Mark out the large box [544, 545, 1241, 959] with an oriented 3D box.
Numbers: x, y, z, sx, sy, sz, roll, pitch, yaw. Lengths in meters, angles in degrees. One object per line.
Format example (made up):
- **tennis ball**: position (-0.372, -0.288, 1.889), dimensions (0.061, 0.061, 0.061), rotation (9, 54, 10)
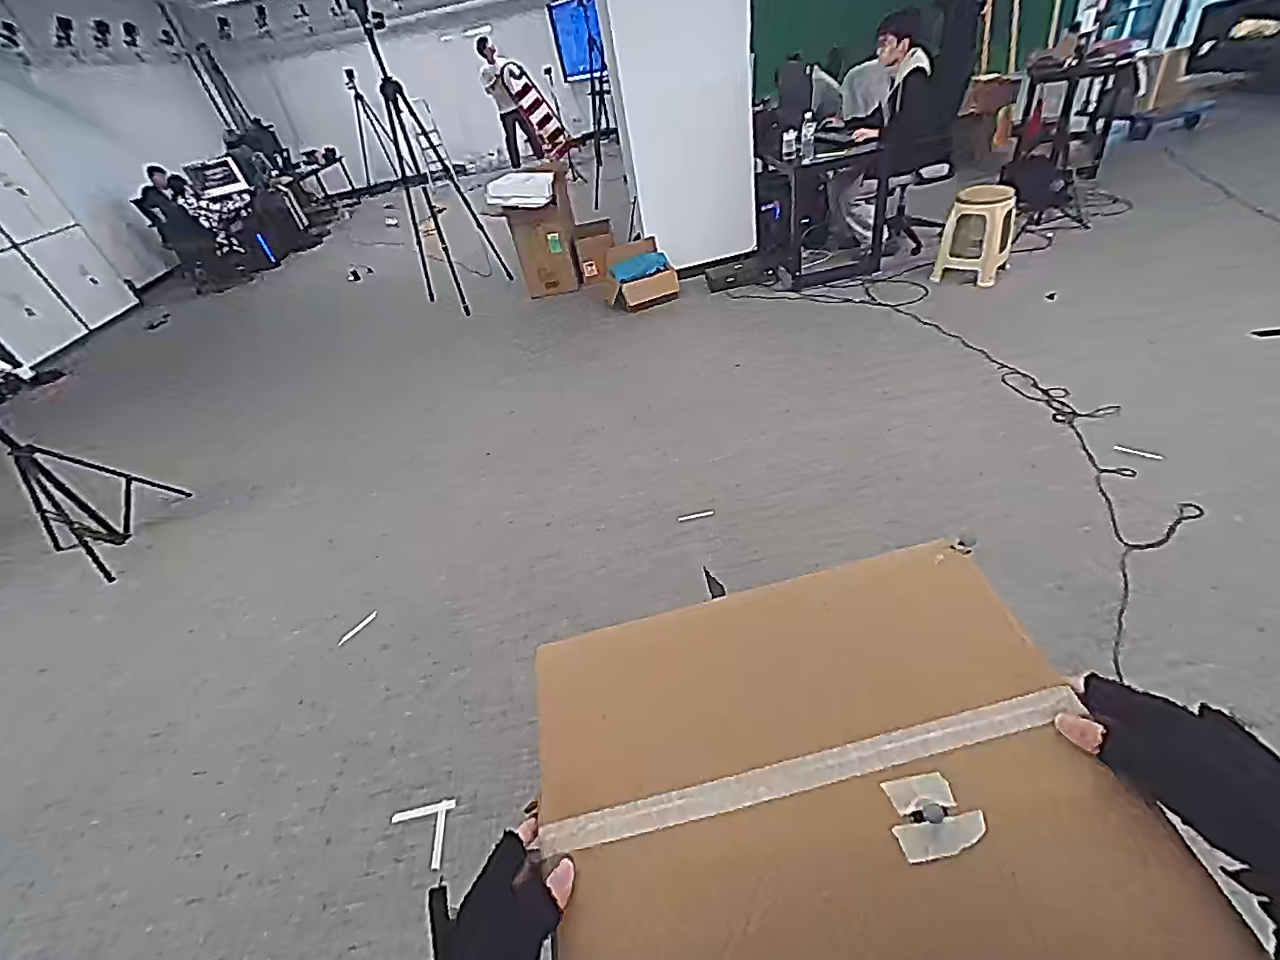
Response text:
- **large box**: position (0.155, 0.321, 0.519), dimensions (0.408, 0.320, 0.320), rotation (-16, 47, 0)
